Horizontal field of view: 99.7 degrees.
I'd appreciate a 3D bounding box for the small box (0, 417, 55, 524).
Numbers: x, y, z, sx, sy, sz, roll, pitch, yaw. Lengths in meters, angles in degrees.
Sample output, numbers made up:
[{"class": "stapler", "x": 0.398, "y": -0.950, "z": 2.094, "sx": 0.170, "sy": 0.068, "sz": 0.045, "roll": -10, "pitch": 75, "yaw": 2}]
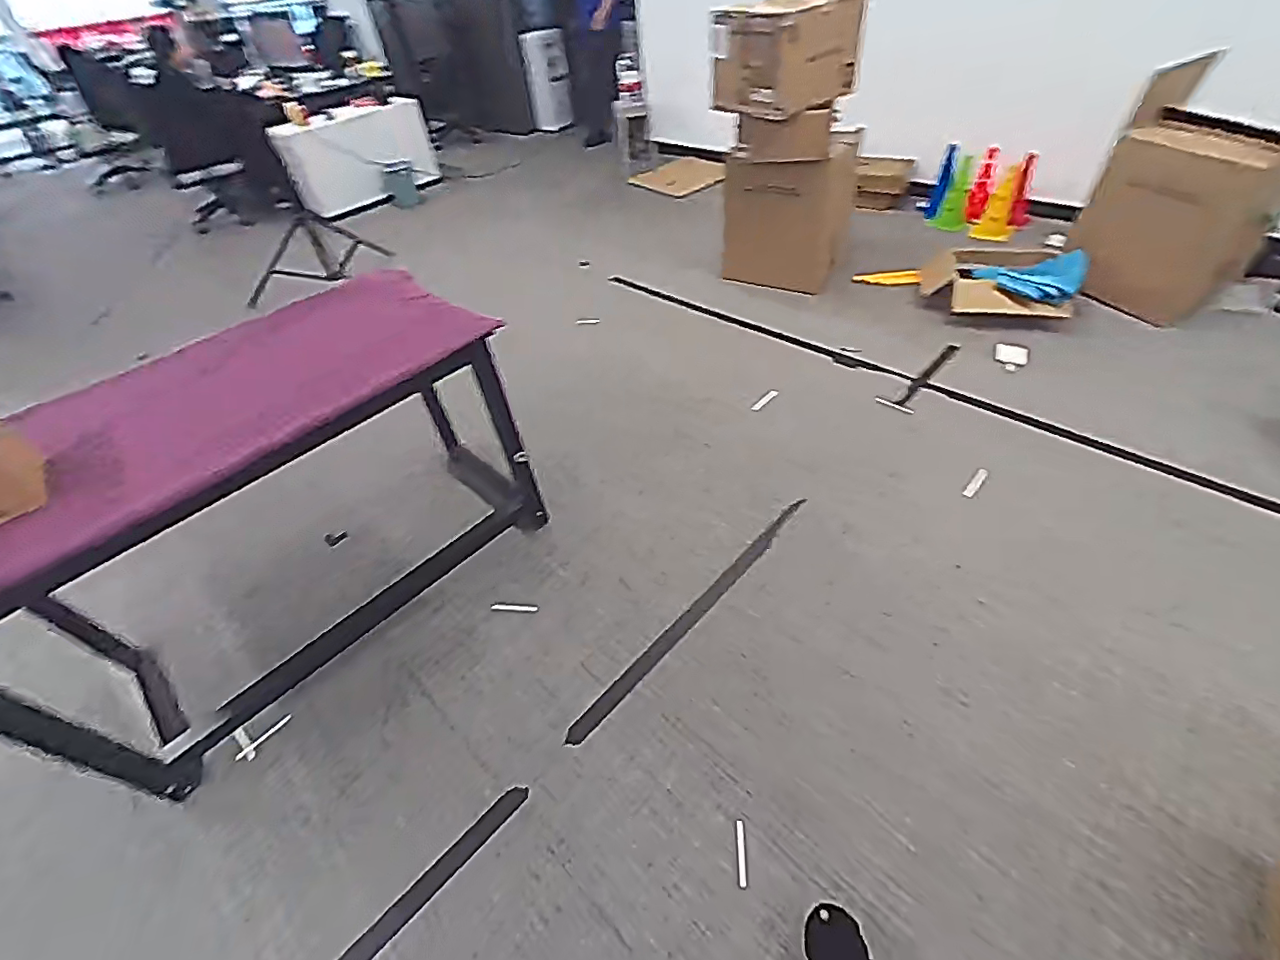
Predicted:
[{"class": "small box", "x": -1.229, "y": -0.017, "z": 0.983, "sx": 0.168, "sy": 0.176, "sz": 0.179, "roll": -33, "pitch": 51, "yaw": -24}]
